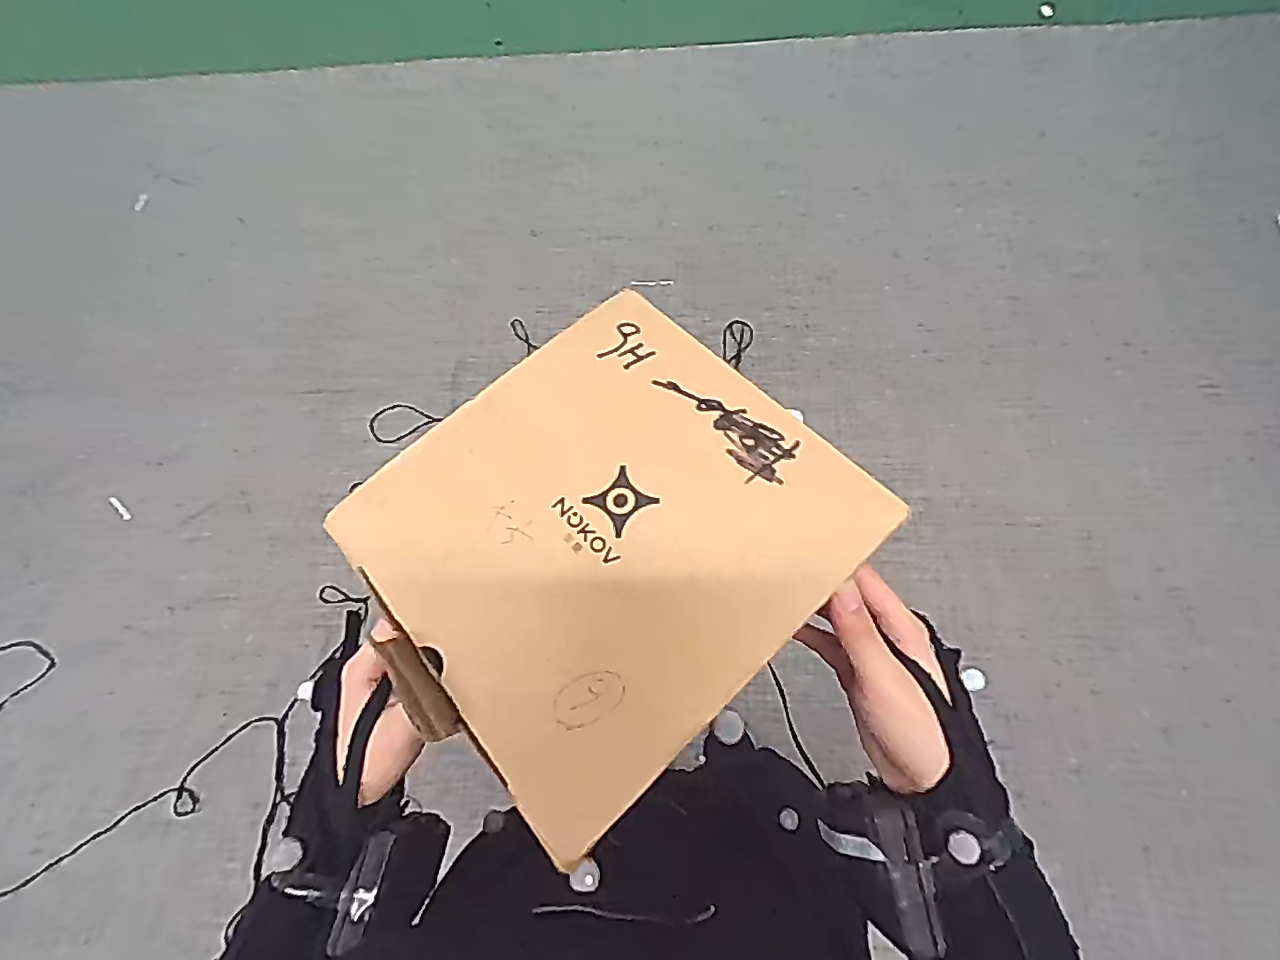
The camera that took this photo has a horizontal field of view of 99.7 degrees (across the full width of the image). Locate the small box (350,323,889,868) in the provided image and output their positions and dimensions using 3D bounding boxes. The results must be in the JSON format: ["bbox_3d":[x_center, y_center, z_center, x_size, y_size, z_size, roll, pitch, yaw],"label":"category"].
[{"bbox_3d":[-0.006,0.059,0.300,0.179,0.176,0.168,-41,68,-13],"label":"small box"}]
